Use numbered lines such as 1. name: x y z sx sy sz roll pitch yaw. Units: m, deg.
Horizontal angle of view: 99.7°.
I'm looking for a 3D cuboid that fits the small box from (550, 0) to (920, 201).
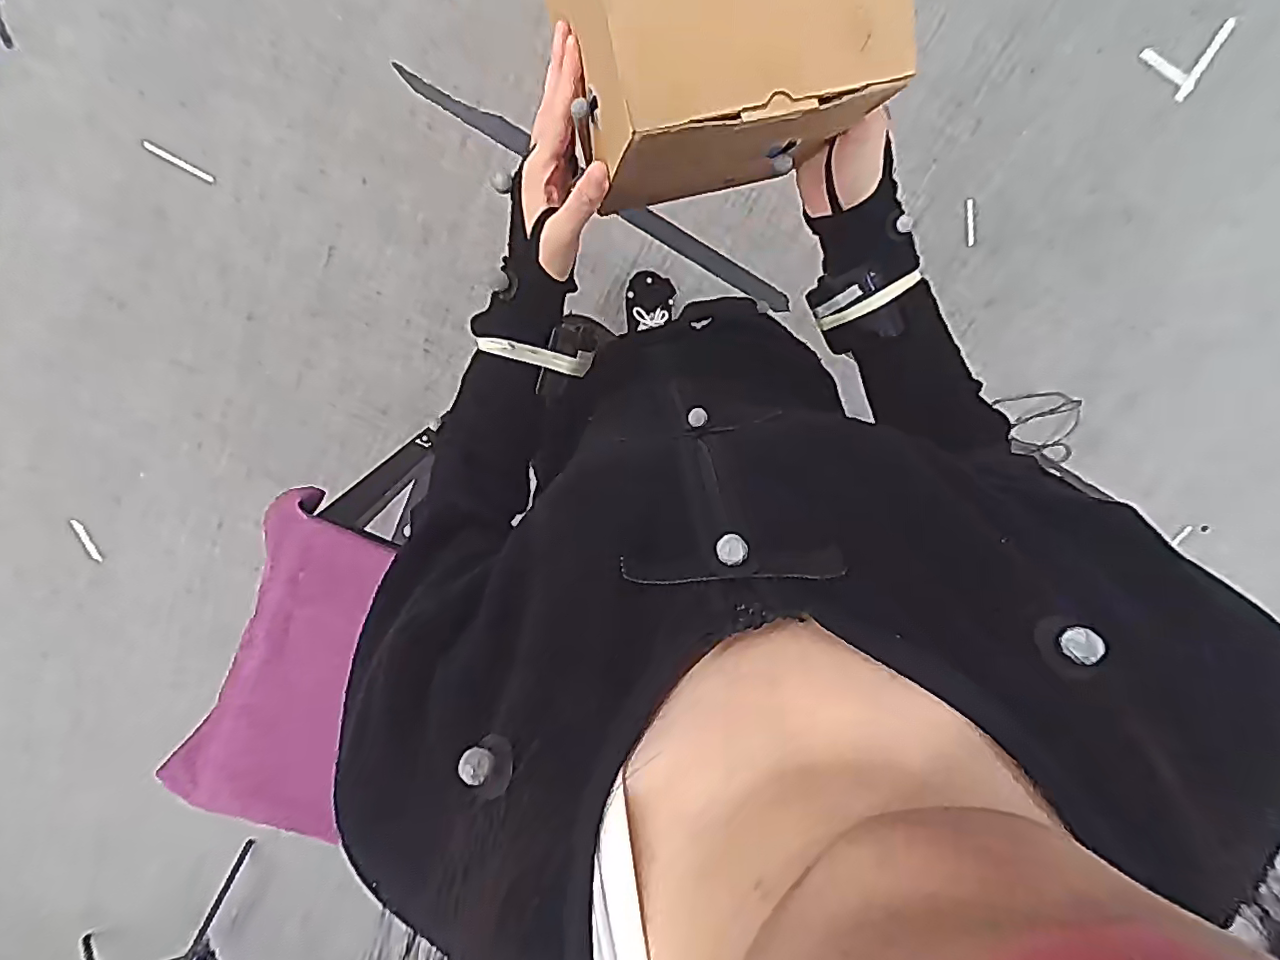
1. small box: 0.040 -0.295 0.339 0.168 0.176 0.179 -16 104 -7
